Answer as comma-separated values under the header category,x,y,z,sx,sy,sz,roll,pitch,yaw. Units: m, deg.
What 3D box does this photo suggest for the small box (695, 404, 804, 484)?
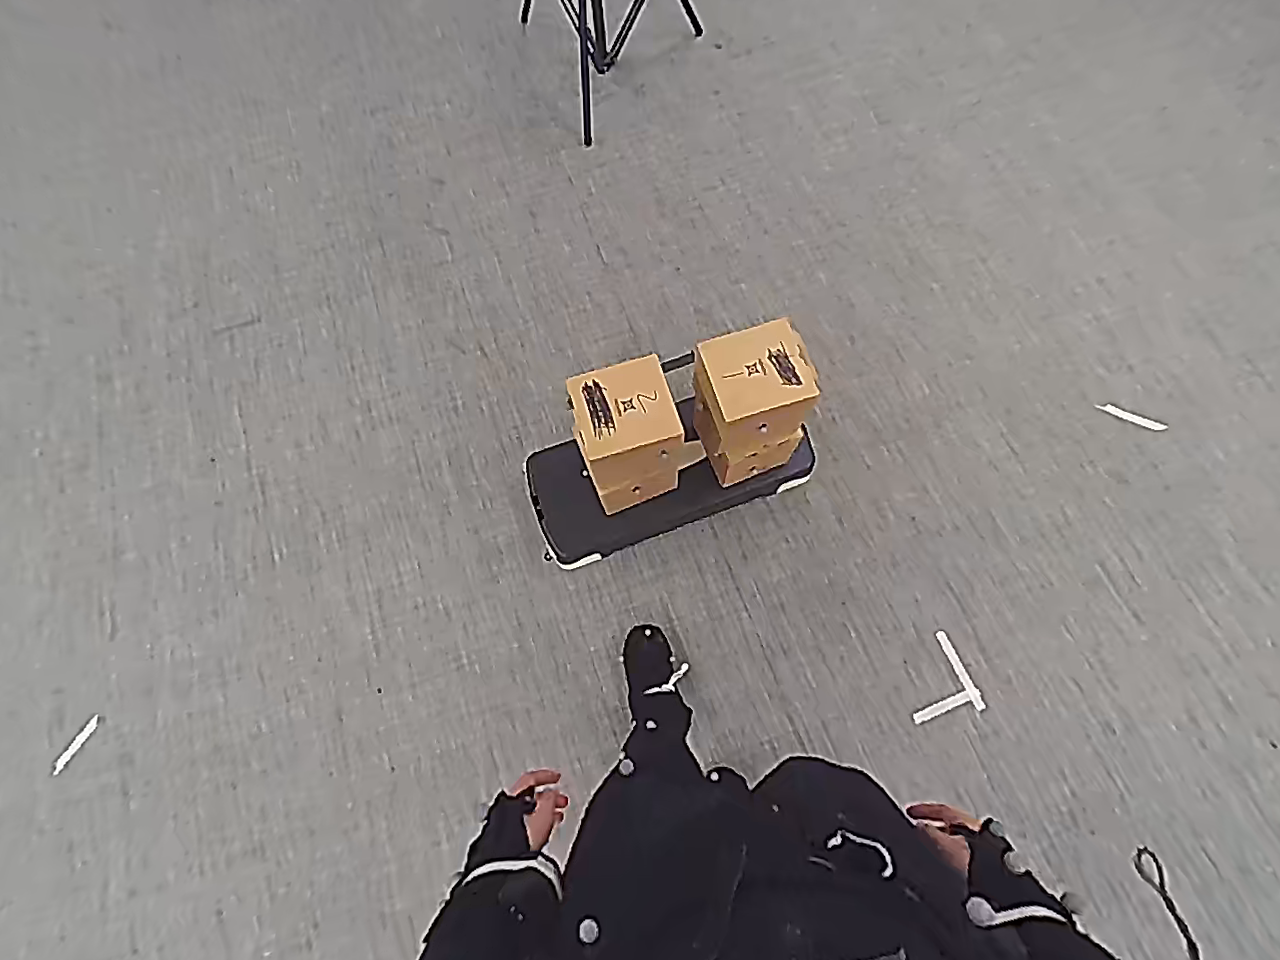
category,x,y,z,sx,sy,sz,roll,pitch,yaw
small box,0.229,-0.114,1.188,0.168,0.176,0.179,-22,74,-4

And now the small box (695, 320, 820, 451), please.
category,x,y,z,sx,sy,sz,roll,pitch,yaw
small box,0.214,-0.174,1.035,0.179,0.176,0.168,-16,73,-2
